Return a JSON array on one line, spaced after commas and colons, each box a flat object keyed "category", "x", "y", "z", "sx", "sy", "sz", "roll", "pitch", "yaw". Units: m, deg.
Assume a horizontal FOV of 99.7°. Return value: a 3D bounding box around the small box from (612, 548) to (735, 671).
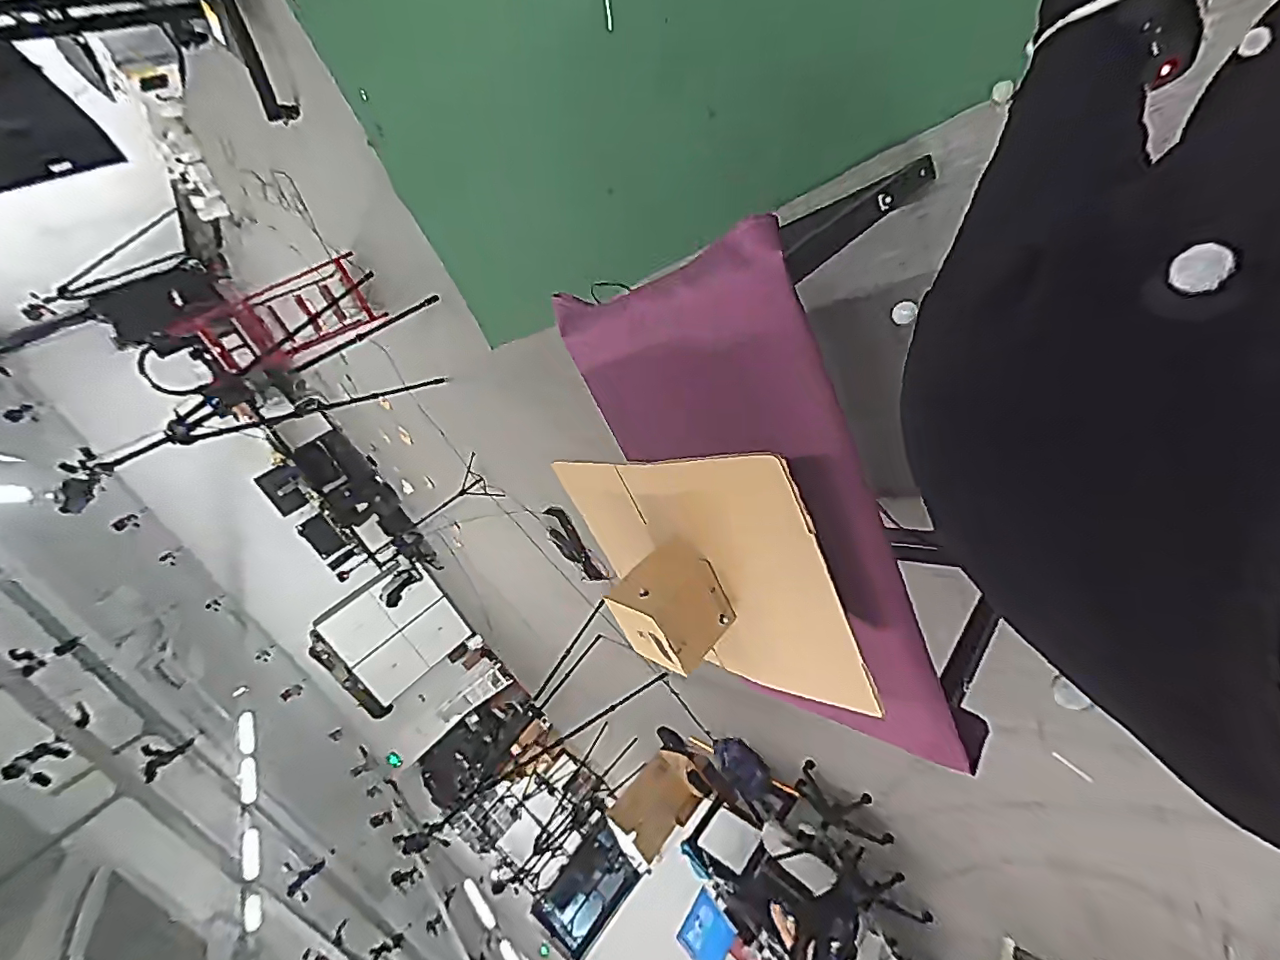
[{"category": "small box", "x": 0.079, "y": 0.264, "z": 1.148, "sx": 0.179, "sy": 0.176, "sz": 0.168, "roll": 5, "pitch": 128, "yaw": 53}]
